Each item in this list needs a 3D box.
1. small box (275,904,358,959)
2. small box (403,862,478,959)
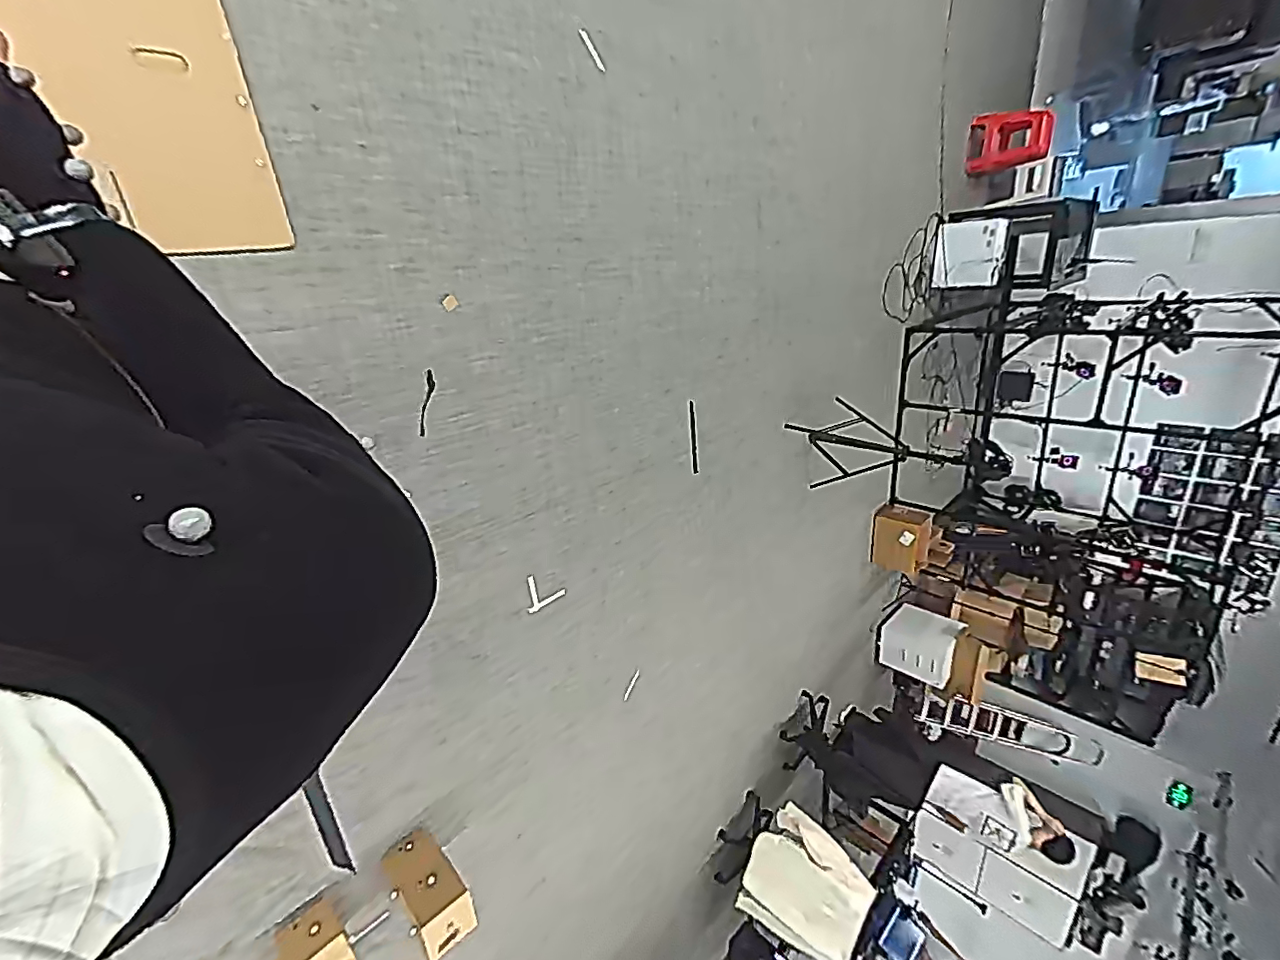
[{"bbox_3d":[-1.015,1.492,1.697,0.168,0.176,0.179,-26,119,-38],"label":"small box"},{"bbox_3d":[-0.662,1.429,1.793,0.168,0.176,0.179,-22,115,-40],"label":"small box"}]
